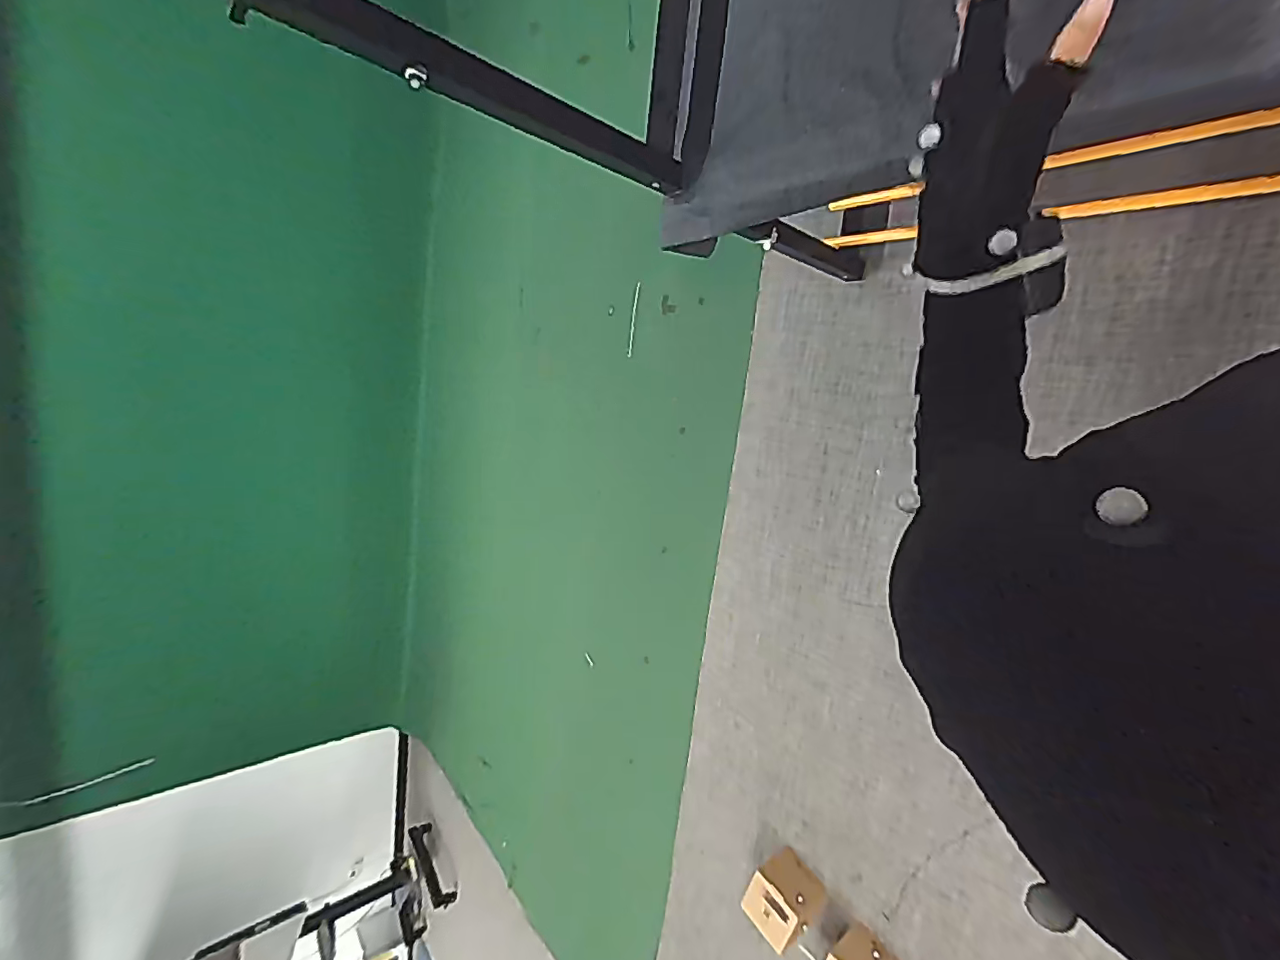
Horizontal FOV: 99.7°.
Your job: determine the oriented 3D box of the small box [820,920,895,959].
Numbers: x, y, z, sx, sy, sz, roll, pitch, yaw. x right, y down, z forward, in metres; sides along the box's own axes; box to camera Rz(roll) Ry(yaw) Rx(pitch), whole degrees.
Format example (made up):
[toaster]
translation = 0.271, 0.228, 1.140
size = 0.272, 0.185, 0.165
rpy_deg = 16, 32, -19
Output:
[small box]
translation = 0.607, 1.409, 1.520
size = 0.168, 0.176, 0.179
rpy_deg = 29, 111, 44
